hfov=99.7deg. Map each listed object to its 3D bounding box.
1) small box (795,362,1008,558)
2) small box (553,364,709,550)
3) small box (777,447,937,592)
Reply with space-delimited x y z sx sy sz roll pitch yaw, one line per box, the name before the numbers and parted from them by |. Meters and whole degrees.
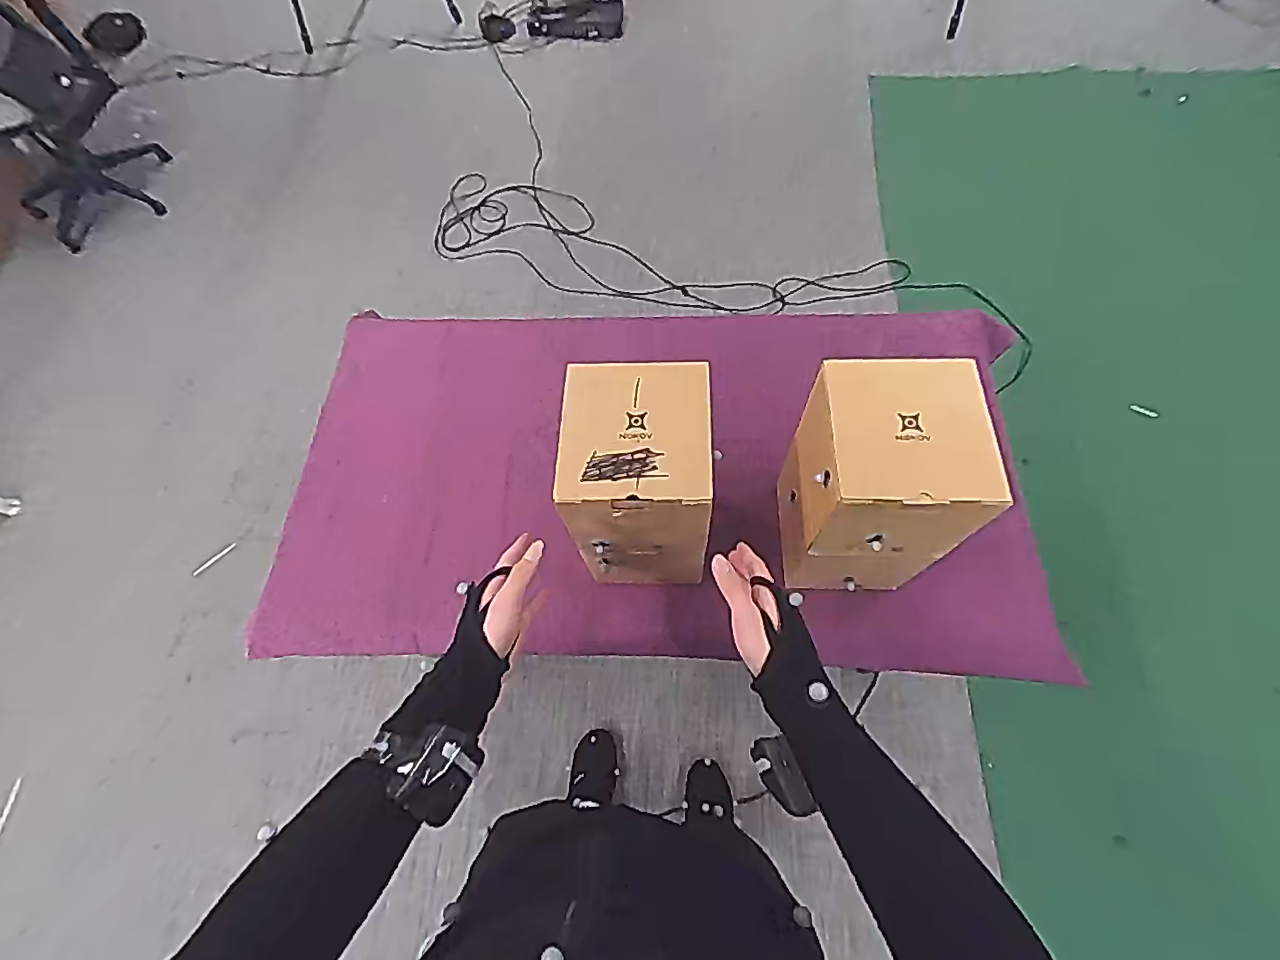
small box | 0.286 -0.018 0.639 0.168 0.176 0.179 1 65 4
small box | -0.001 -0.020 0.658 0.168 0.176 0.179 0 64 4
small box | 0.297 0.053 0.785 0.168 0.176 0.179 1 65 5
